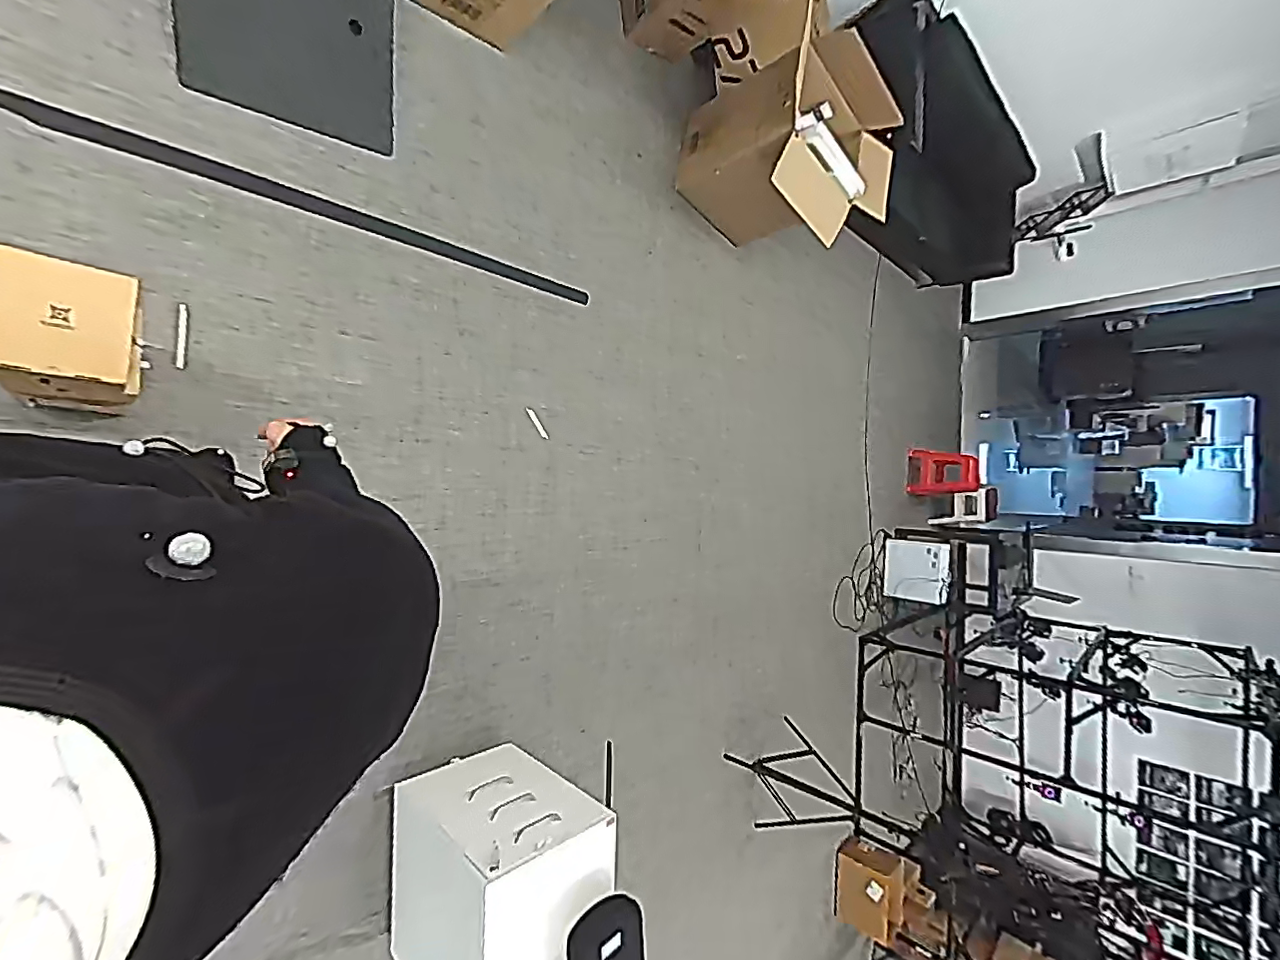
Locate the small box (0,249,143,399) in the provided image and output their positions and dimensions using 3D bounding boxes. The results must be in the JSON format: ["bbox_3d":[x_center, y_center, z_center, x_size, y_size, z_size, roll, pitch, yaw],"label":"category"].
[{"bbox_3d":[-0.923,-0.236,0.866,0.168,0.176,0.179,6,87,-45],"label":"small box"}]

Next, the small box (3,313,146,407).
[{"bbox_3d":[-1.031,-0.230,0.988,0.179,0.176,0.168,3,88,-46],"label":"small box"}]
